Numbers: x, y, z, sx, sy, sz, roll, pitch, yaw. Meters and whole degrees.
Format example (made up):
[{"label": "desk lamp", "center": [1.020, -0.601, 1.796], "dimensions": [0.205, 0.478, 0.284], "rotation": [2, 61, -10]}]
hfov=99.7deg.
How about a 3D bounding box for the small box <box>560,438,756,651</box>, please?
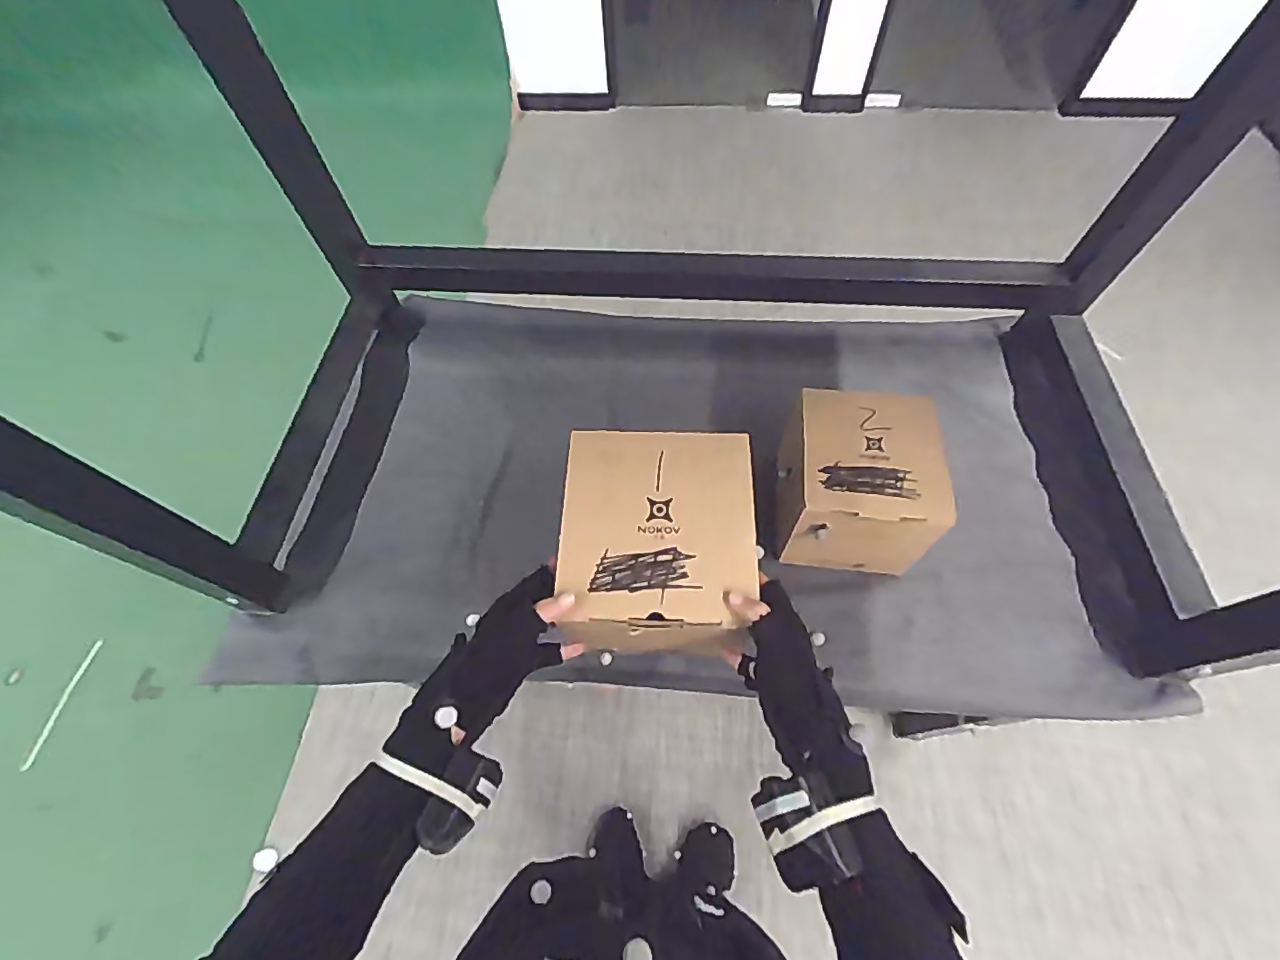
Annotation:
[{"label": "small box", "center": [0.021, 0.073, 0.550], "dimensions": [0.168, 0.176, 0.179], "rotation": [0, 63, 3]}]
